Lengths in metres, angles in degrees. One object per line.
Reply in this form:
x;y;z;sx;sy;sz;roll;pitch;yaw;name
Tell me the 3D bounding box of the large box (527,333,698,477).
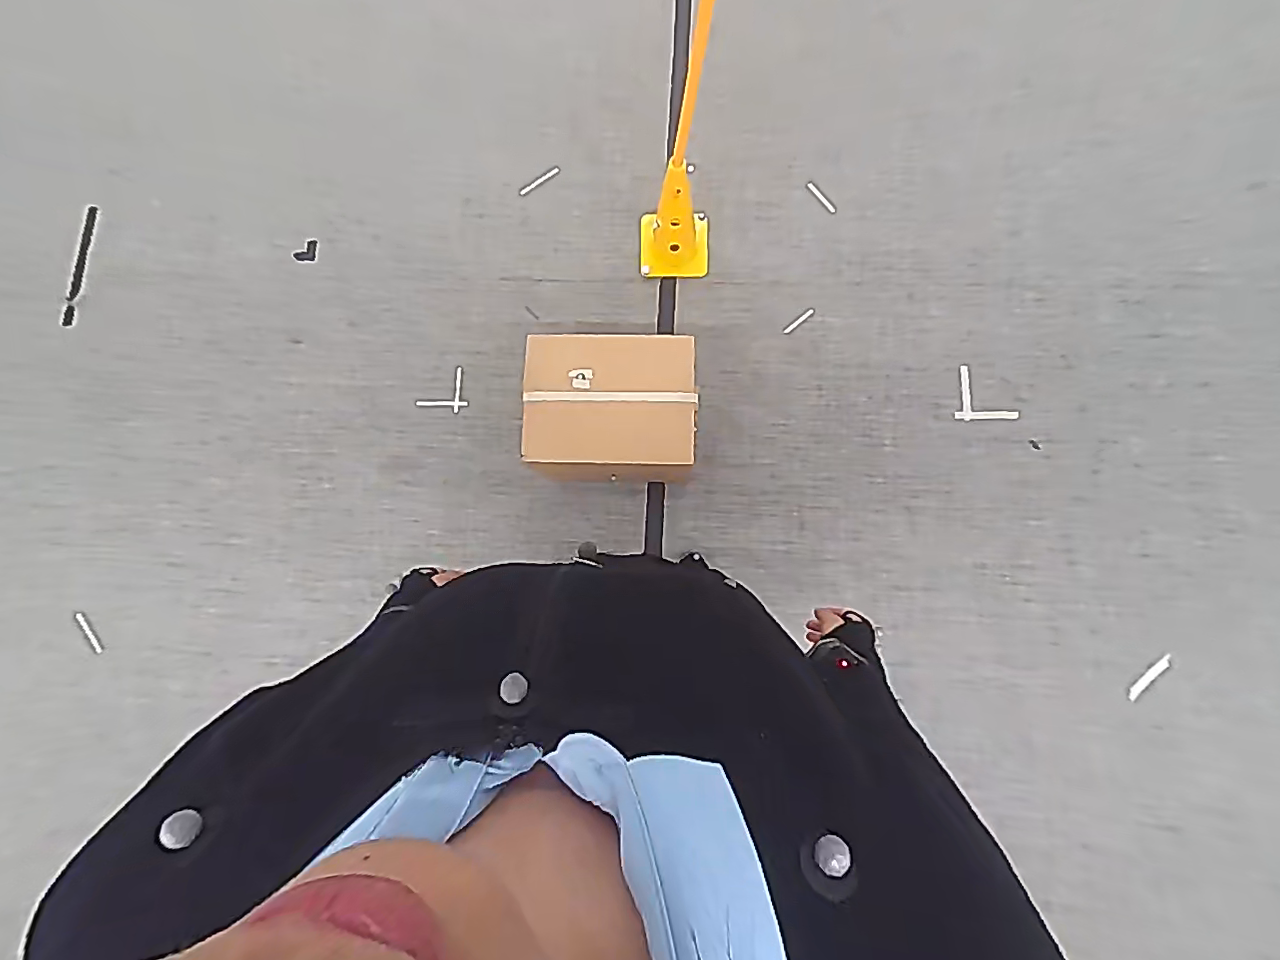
-0.055;-0.176;1.420;0.408;0.320;0.320;1;81;4;large box
